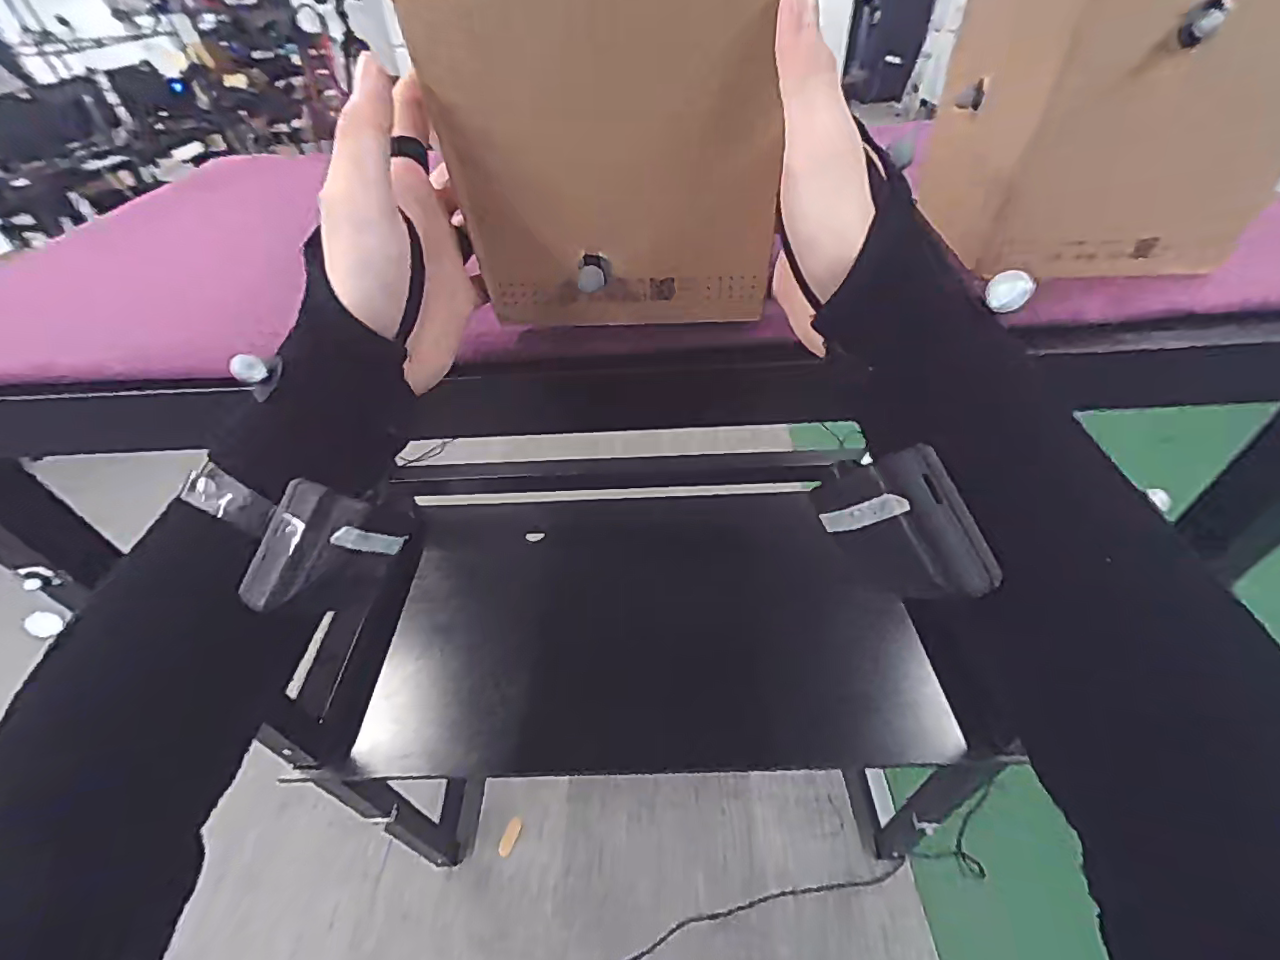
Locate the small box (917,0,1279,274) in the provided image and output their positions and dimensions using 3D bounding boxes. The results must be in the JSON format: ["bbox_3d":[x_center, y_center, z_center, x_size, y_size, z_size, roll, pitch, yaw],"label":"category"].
[{"bbox_3d":[0.329,-0.266,0.396,0.168,0.176,0.179,0,44,6],"label":"small box"}]

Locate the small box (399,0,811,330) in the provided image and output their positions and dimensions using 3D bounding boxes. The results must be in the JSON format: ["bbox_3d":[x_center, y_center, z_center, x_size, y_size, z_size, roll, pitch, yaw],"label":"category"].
[{"bbox_3d":[-0.008,-0.210,0.316,0.168,0.176,0.179,-1,55,5],"label":"small box"}]
